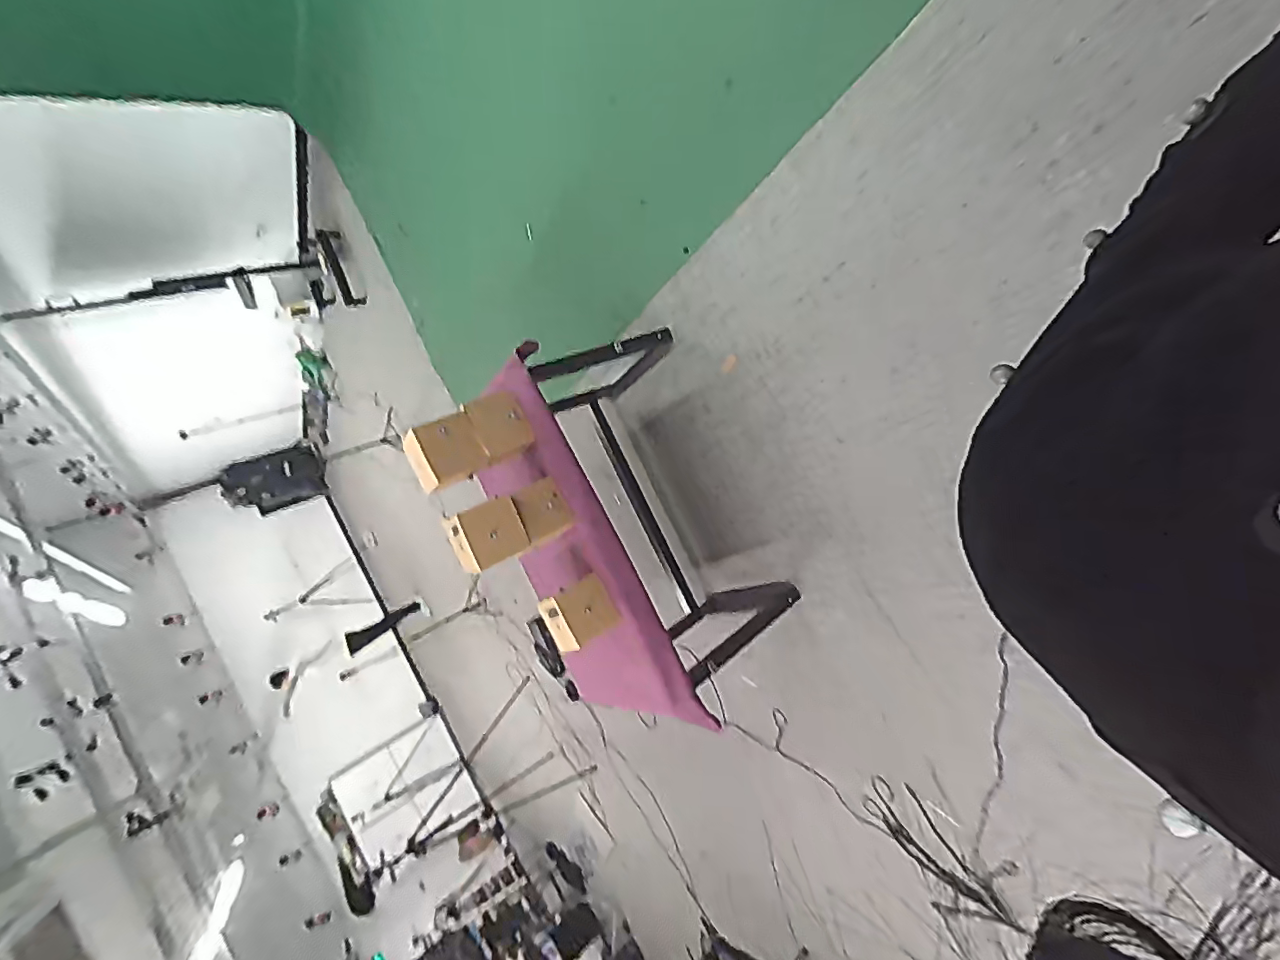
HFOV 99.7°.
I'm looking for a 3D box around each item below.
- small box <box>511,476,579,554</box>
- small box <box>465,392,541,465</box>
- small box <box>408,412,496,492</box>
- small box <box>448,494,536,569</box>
[{"bbox_3d":[-0.319,0.110,1.717,0.168,0.176,0.179,59,145,6],"label":"small box"},{"bbox_3d":[-0.442,-0.161,1.703,0.179,0.176,0.168,61,145,4],"label":"small box"},{"bbox_3d":[-0.561,-0.089,1.615,0.168,0.176,0.179,-25,92,55],"label":"small box"},{"bbox_3d":[-0.437,0.149,1.604,0.168,0.176,0.179,-14,101,56],"label":"small box"}]
